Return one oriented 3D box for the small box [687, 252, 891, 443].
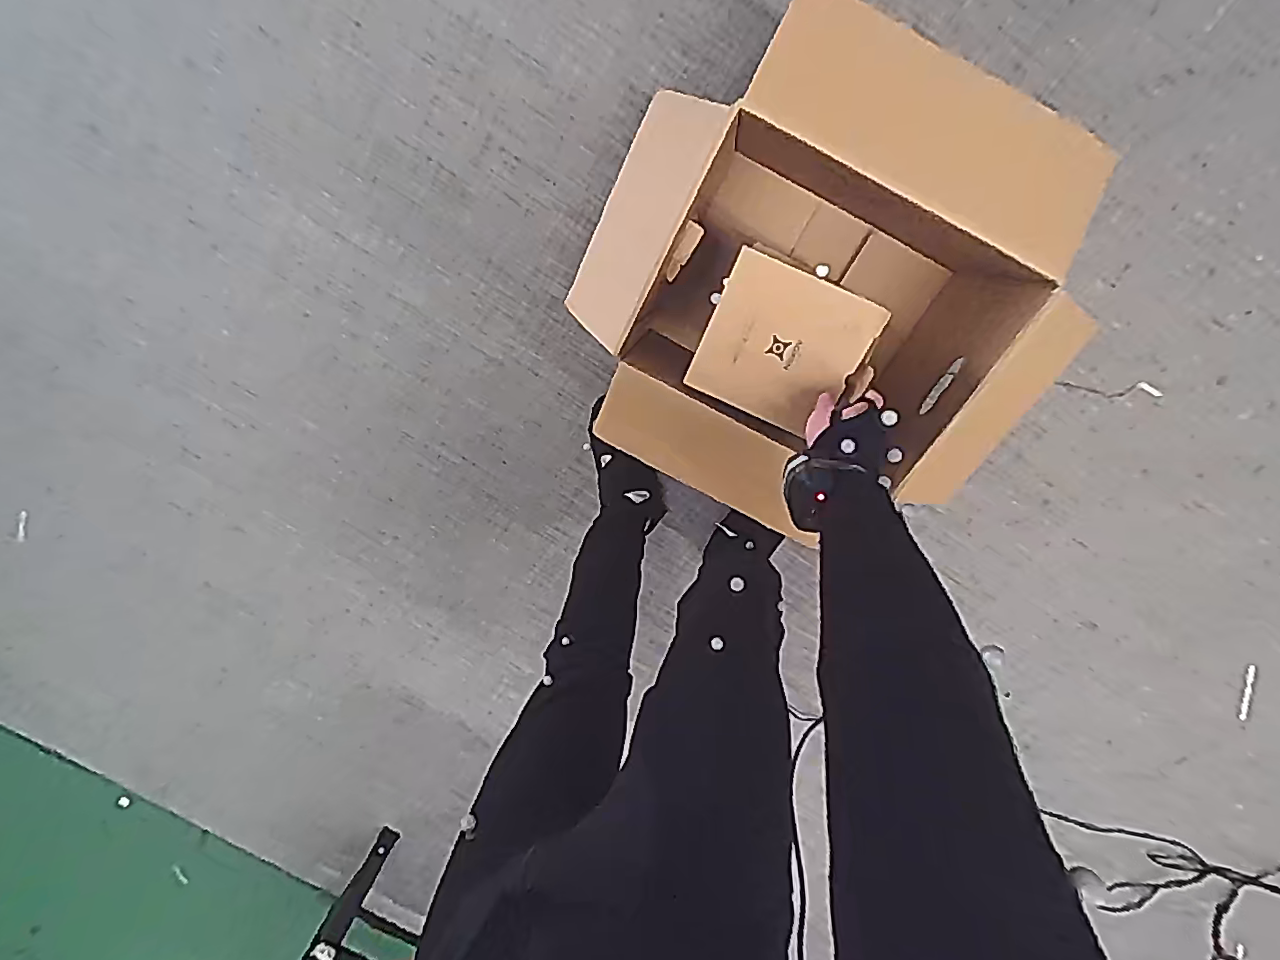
[{"bbox_3d":[0.182,-0.174,0.690,0.179,0.176,0.168,26,113,4],"label":"small box"}]
